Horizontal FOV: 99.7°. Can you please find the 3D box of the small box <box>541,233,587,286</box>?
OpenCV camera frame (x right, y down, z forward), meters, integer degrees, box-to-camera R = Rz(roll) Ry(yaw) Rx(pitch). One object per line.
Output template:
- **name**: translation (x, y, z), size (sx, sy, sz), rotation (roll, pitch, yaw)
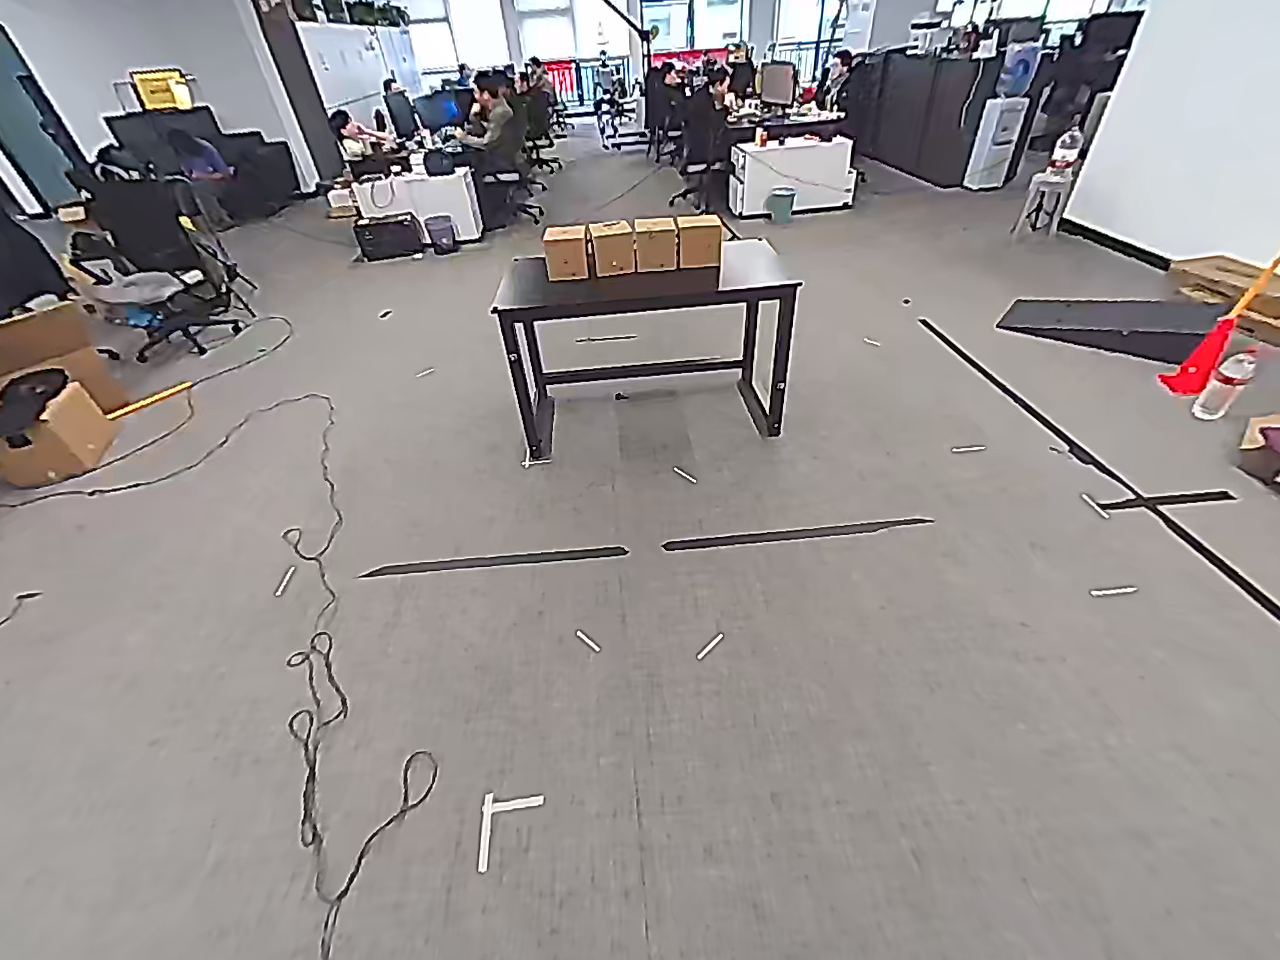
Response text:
- **small box**: translation (-0.318, -0.935, 2.305), size (0.168, 0.176, 0.179), rotation (-4, 39, 1)
